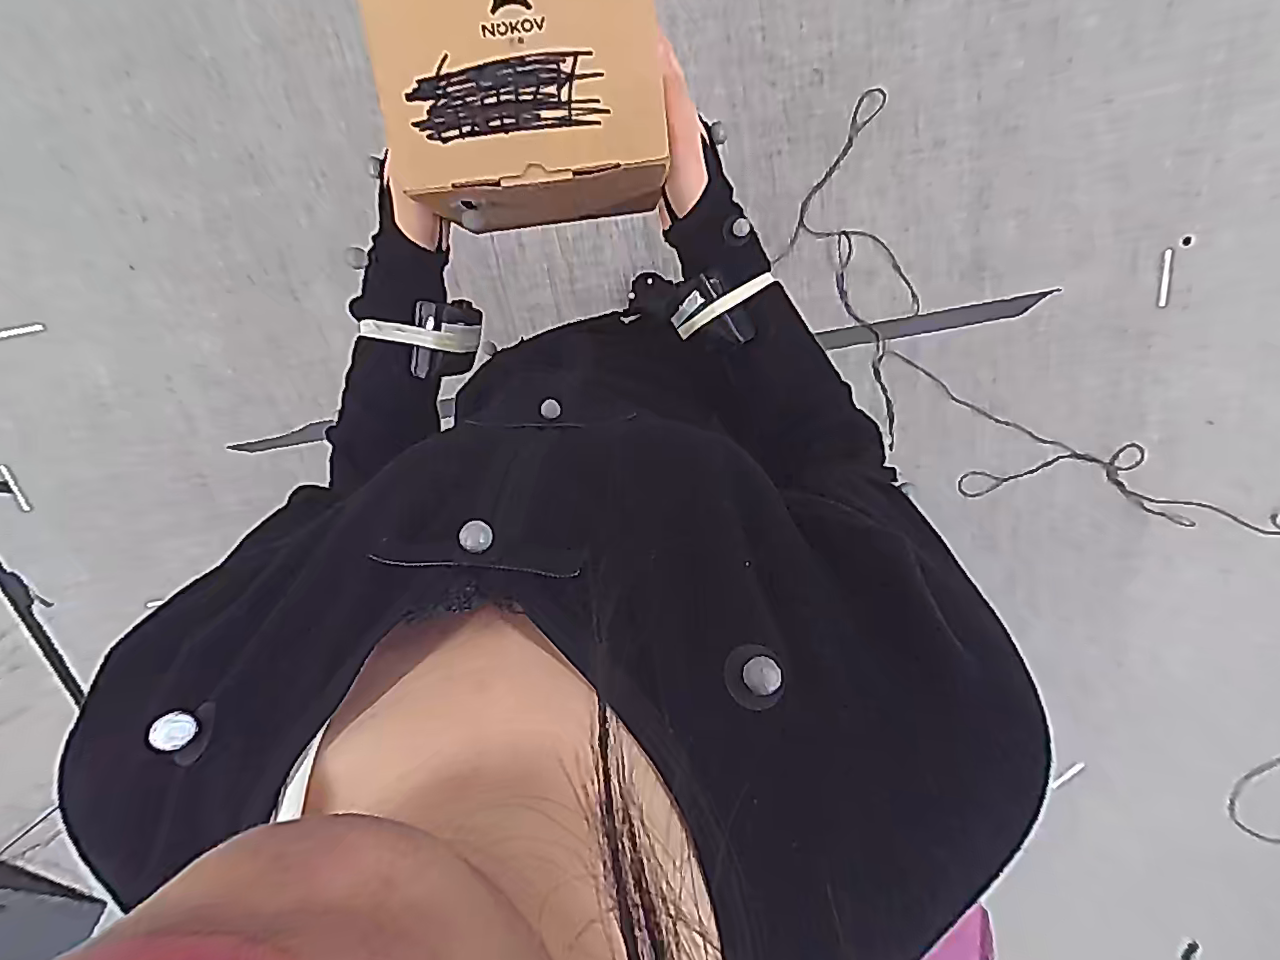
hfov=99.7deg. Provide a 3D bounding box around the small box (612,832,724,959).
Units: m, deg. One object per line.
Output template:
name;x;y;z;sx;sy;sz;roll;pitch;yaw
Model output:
small box;0.049;0.737;0.910;0.168;0.176;0.179;-8;109;1
